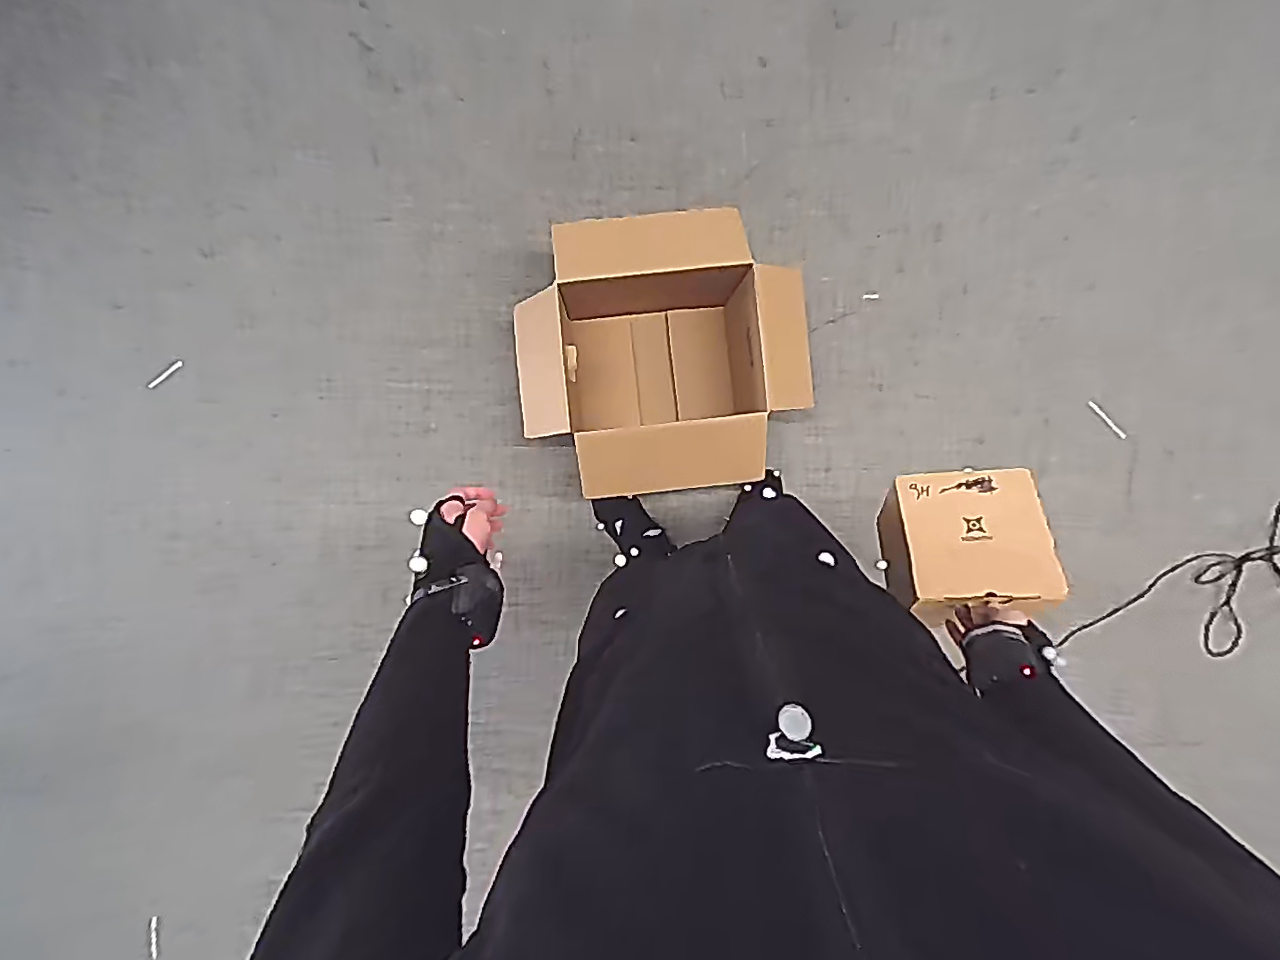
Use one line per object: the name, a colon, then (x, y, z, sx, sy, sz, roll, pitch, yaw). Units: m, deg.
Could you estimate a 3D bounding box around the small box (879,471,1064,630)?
small box: (0.441, 0.106, 0.753, 0.168, 0.176, 0.179, -3, 61, 13)
